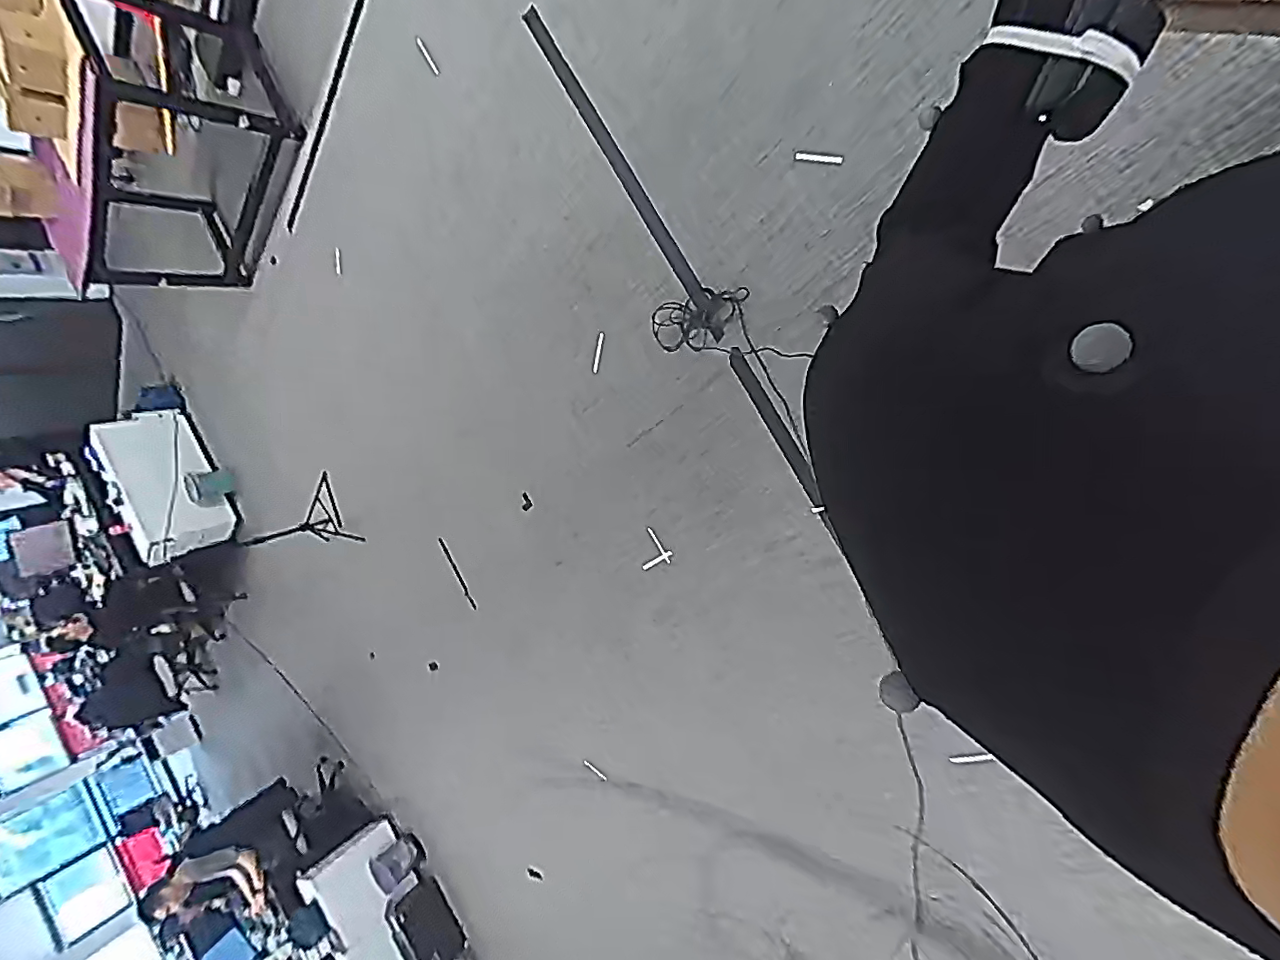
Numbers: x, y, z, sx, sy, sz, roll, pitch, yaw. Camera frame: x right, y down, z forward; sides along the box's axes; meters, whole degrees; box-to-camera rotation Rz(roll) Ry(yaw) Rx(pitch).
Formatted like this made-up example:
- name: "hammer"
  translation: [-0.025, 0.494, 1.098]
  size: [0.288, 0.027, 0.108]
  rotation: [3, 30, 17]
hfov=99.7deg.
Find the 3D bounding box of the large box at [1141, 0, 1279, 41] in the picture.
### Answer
- name: "large box"
  translation: [0.563, -0.411, 0.253]
  size: [0.408, 0.320, 0.320]
  rotation: [28, 135, 27]
